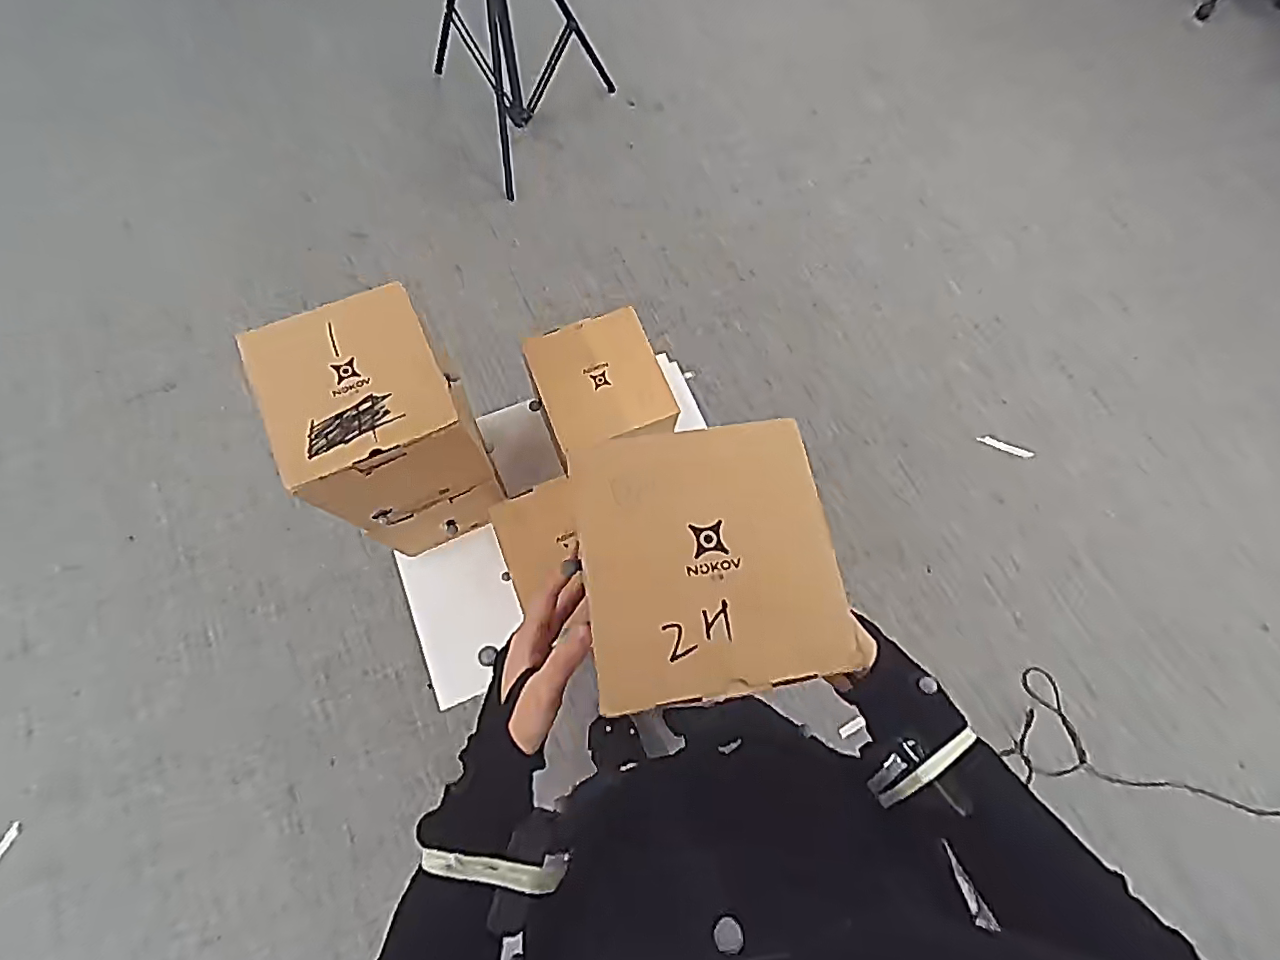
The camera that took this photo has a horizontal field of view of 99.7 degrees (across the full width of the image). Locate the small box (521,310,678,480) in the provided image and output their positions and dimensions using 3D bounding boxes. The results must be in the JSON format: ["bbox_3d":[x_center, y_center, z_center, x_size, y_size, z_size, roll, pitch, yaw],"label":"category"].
[{"bbox_3d":[-0.057,-0.110,0.795,0.168,0.176,0.179,-21,75,-9],"label":"small box"}]

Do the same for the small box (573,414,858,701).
[{"bbox_3d":[0.039,0.068,0.431,0.168,0.176,0.179,-8,72,-6],"label":"small box"}]

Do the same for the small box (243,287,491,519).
[{"bbox_3d":[-0.282,-0.069,0.596,0.168,0.176,0.179,-24,76,-11],"label":"small box"}]
